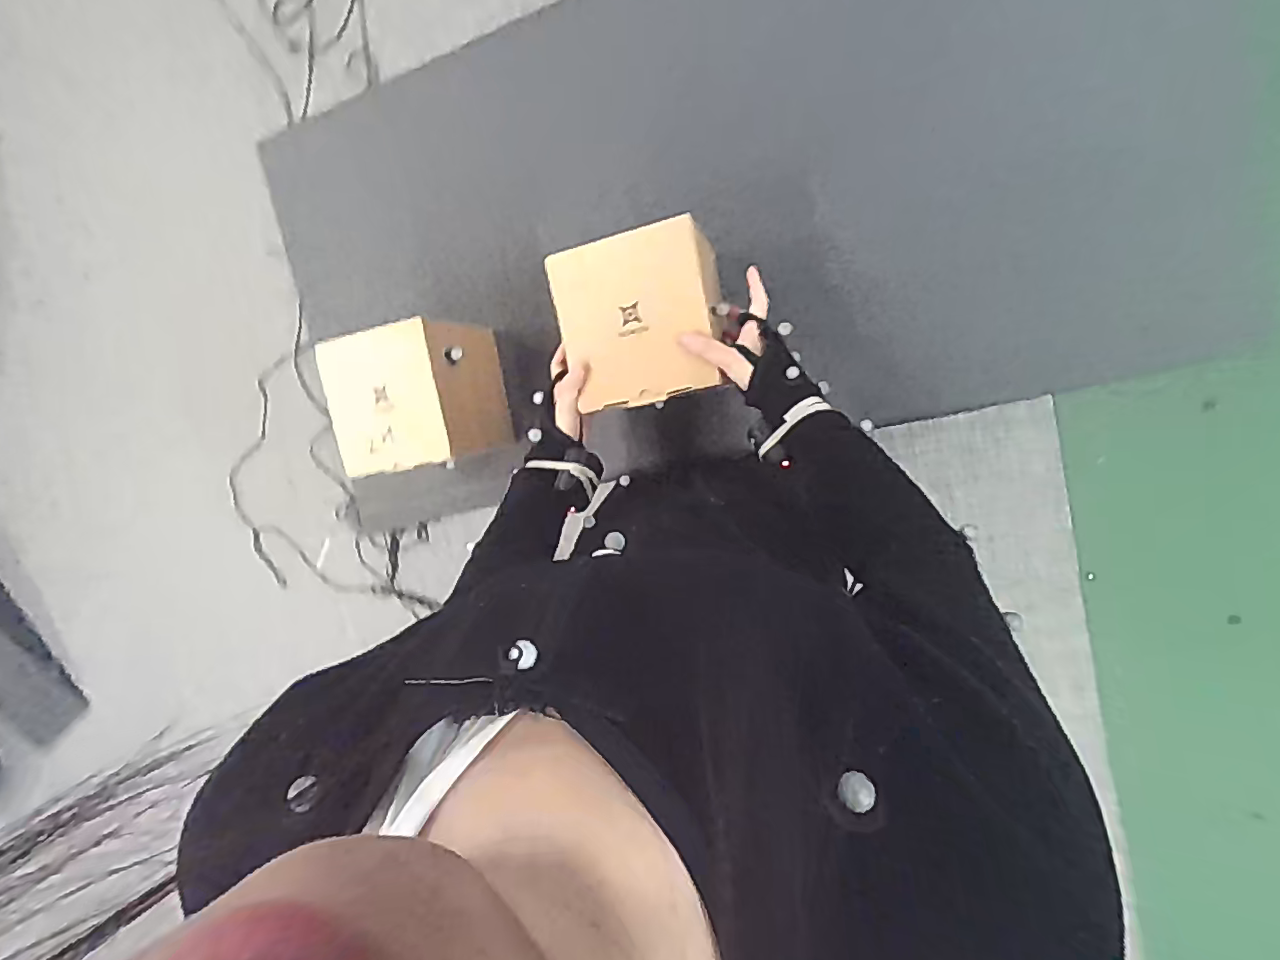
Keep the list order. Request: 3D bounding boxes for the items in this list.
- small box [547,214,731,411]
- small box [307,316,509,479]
[{"bbox_3d":[0.010,-0.185,0.648,0.168,0.176,0.179,-10,98,15],"label":"small box"},{"bbox_3d":[-0.301,-0.108,0.735,0.168,0.176,0.179,-9,98,15],"label":"small box"}]
